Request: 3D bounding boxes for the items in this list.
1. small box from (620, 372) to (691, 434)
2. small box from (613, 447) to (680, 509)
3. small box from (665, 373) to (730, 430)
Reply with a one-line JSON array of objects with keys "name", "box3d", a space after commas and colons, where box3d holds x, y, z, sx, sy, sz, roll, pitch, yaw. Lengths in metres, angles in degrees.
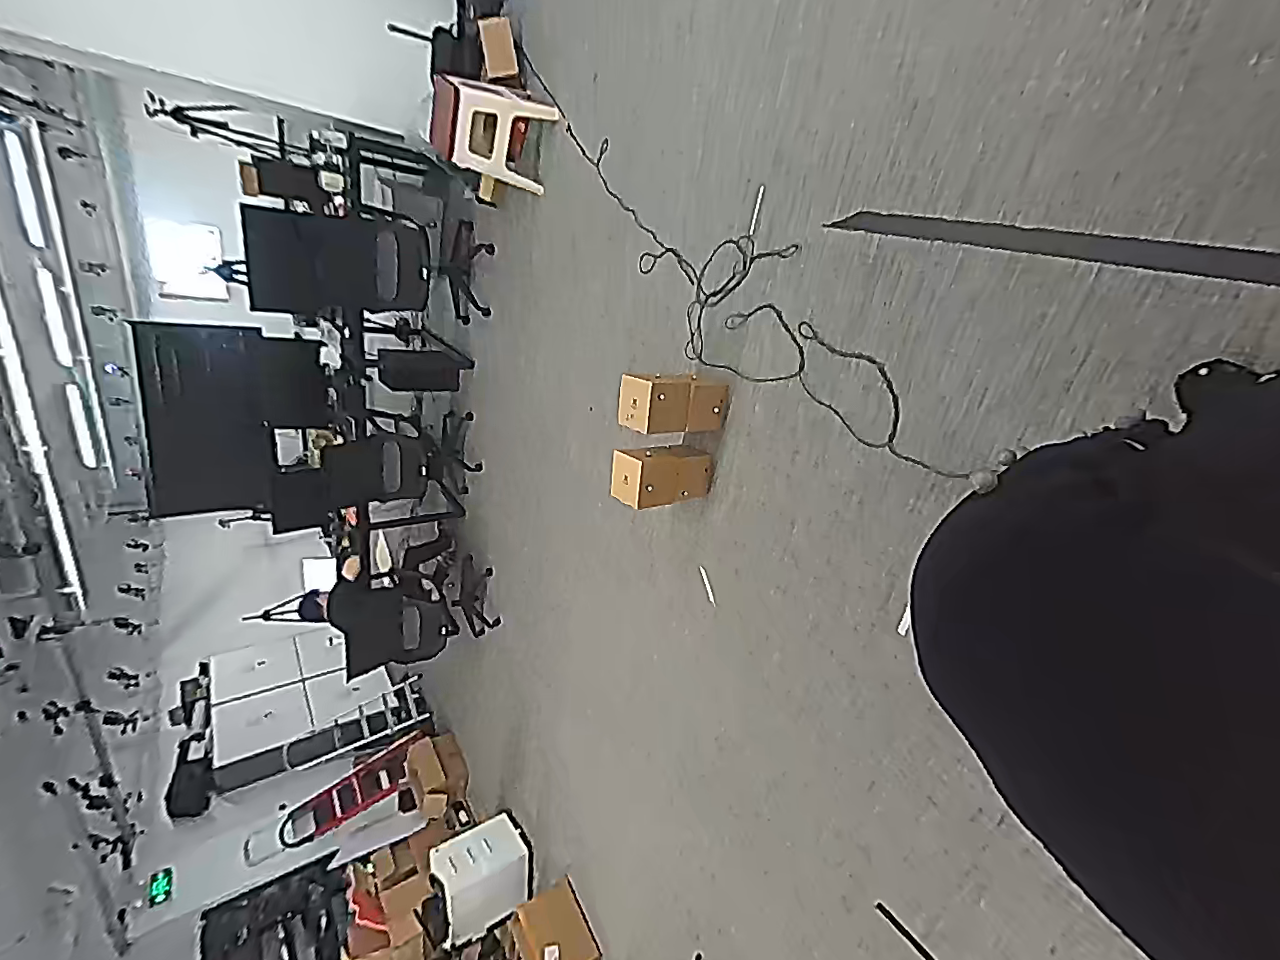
[{"name": "small box", "box3d": [0.053, -0.264, 1.827, 0.168, 0.176, 0.179, 28, 120, 48]}, {"name": "small box", "box3d": [0.024, -0.015, 1.923, 0.168, 0.176, 0.179, 26, 118, 48]}, {"name": "small box", "box3d": [0.191, -0.281, 1.917, 0.179, 0.176, 0.168, 30, 121, 46]}]
